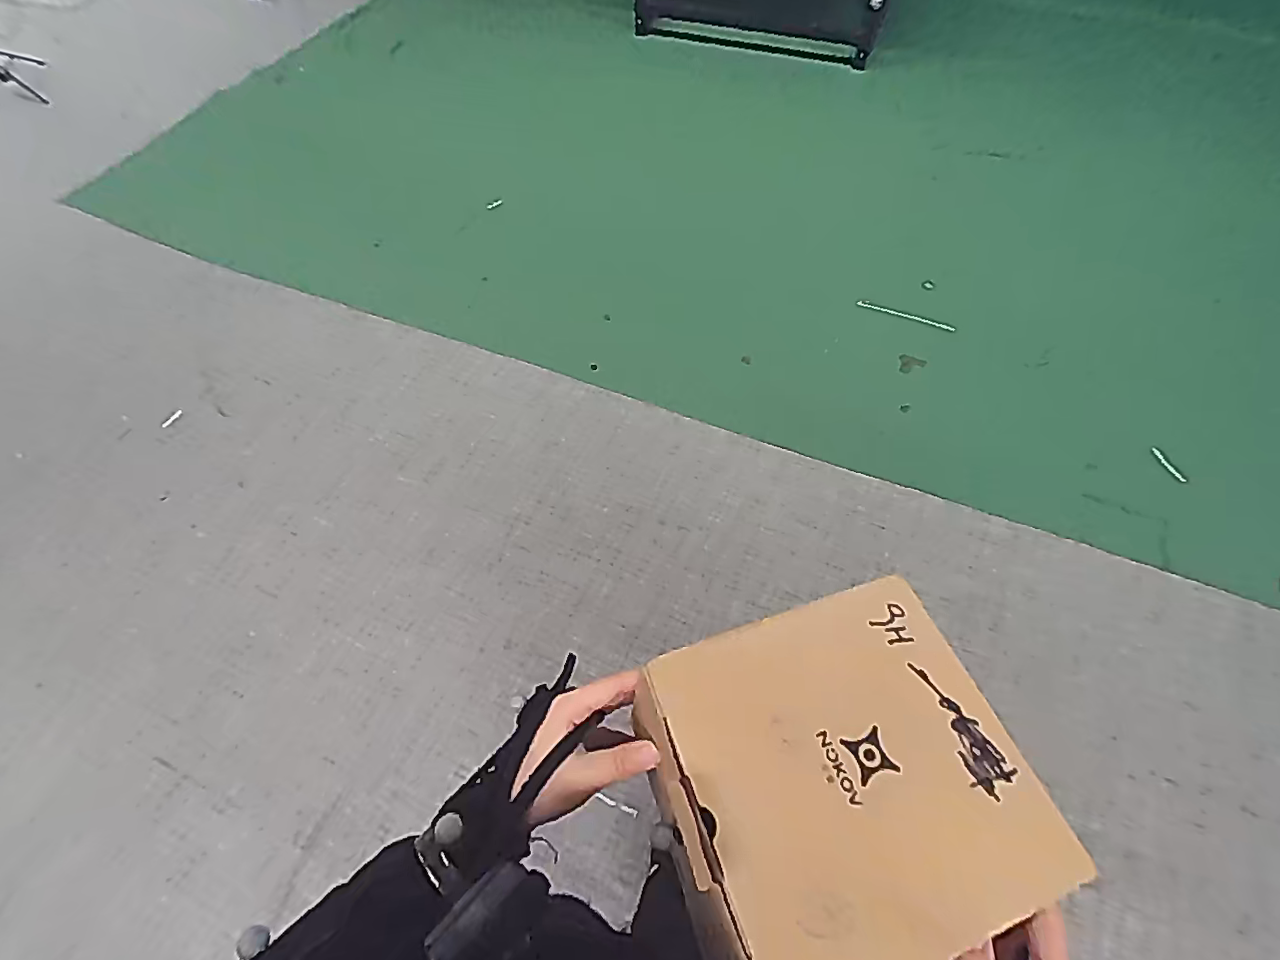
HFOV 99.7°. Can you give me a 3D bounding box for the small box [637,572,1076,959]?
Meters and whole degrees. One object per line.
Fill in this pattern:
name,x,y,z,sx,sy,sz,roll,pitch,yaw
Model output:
small box,0.105,0.189,0.353,0.179,0.176,0.168,-16,58,-13
